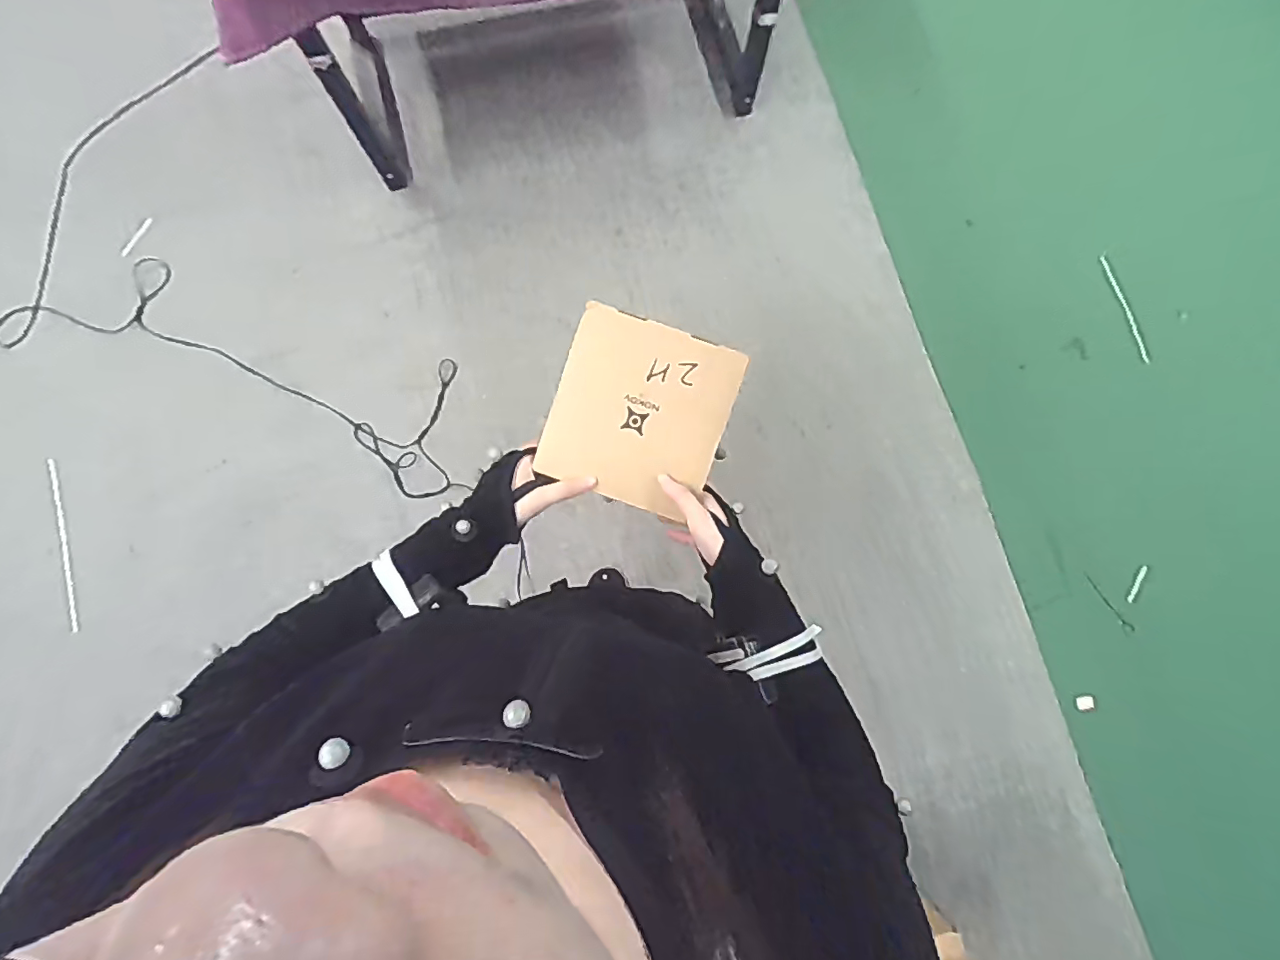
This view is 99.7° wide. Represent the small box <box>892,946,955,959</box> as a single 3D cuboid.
[{"bbox_3d":[0.512,0.945,0.901,0.168,0.176,0.179,-14,81,-3],"label":"small box"}]

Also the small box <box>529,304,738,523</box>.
[{"bbox_3d":[-0.005,-0.071,0.614,0.168,0.176,0.179,20,94,0],"label":"small box"}]
